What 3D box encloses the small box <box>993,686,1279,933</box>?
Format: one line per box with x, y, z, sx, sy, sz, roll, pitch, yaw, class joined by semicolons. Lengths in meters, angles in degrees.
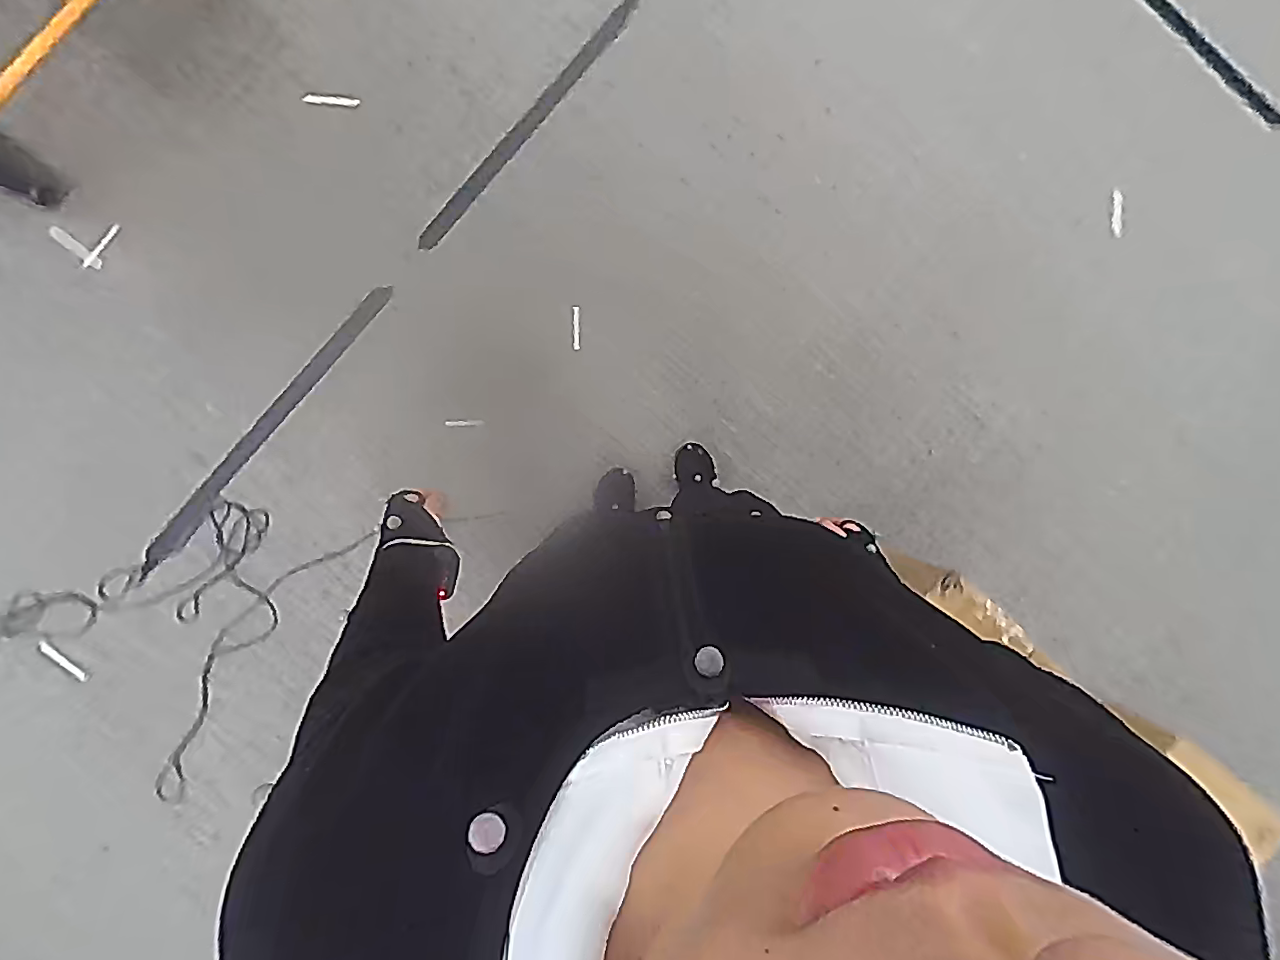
0.599;0.386;0.675;0.179;0.176;0.168;38;90;-3;small box

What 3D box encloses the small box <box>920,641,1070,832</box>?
0.588;0.381;0.839;0.179;0.176;0.168;39;90;-3;small box

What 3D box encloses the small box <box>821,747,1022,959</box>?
0.420;0.556;0.835;0.179;0.176;0.168;41;87;-2;small box
